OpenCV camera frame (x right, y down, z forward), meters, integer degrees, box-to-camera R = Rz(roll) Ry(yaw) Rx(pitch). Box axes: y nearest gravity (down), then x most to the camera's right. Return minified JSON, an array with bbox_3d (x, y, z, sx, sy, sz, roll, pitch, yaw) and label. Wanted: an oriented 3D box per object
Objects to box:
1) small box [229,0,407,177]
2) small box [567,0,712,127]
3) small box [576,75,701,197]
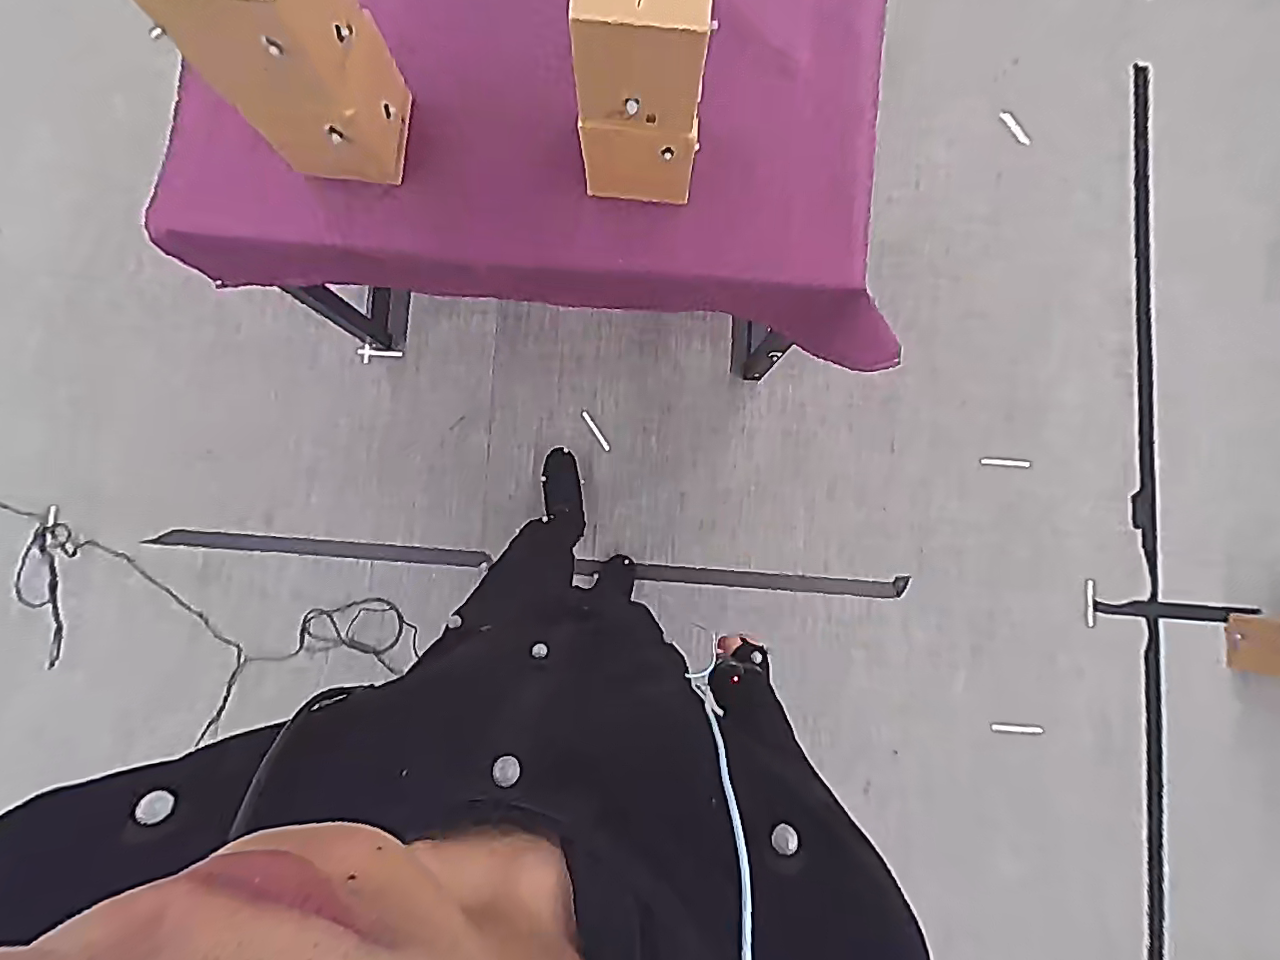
[{"bbox_3d":[-0.488,-0.607,0.848,0.179,0.176,0.168,6,86,-1],"label":"small box"},{"bbox_3d":[0.003,-0.602,0.698,0.168,0.176,0.179,5,87,-1],"label":"small box"},{"bbox_3d":[-0.001,-0.580,0.861,0.179,0.176,0.168,5,86,-1],"label":"small box"}]
